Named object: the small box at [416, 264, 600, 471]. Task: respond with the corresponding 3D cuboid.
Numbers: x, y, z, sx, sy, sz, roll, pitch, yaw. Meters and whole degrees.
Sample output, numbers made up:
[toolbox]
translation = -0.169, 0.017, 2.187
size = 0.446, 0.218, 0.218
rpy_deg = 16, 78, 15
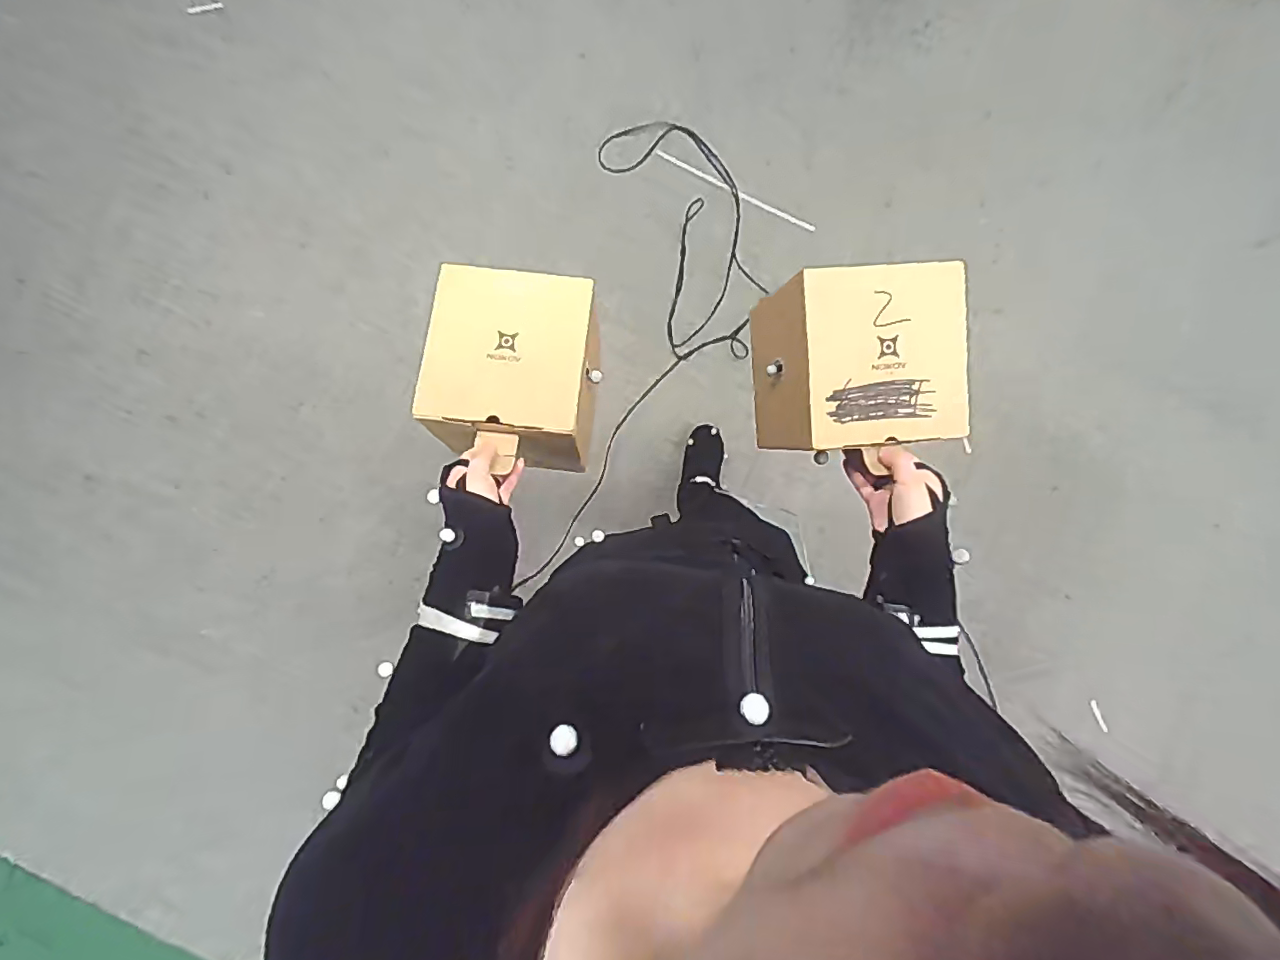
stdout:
[small box]
translation = -0.138, -0.121, 0.636
size = 0.168, 0.176, 0.179
rpy_deg = 6, 78, 0
